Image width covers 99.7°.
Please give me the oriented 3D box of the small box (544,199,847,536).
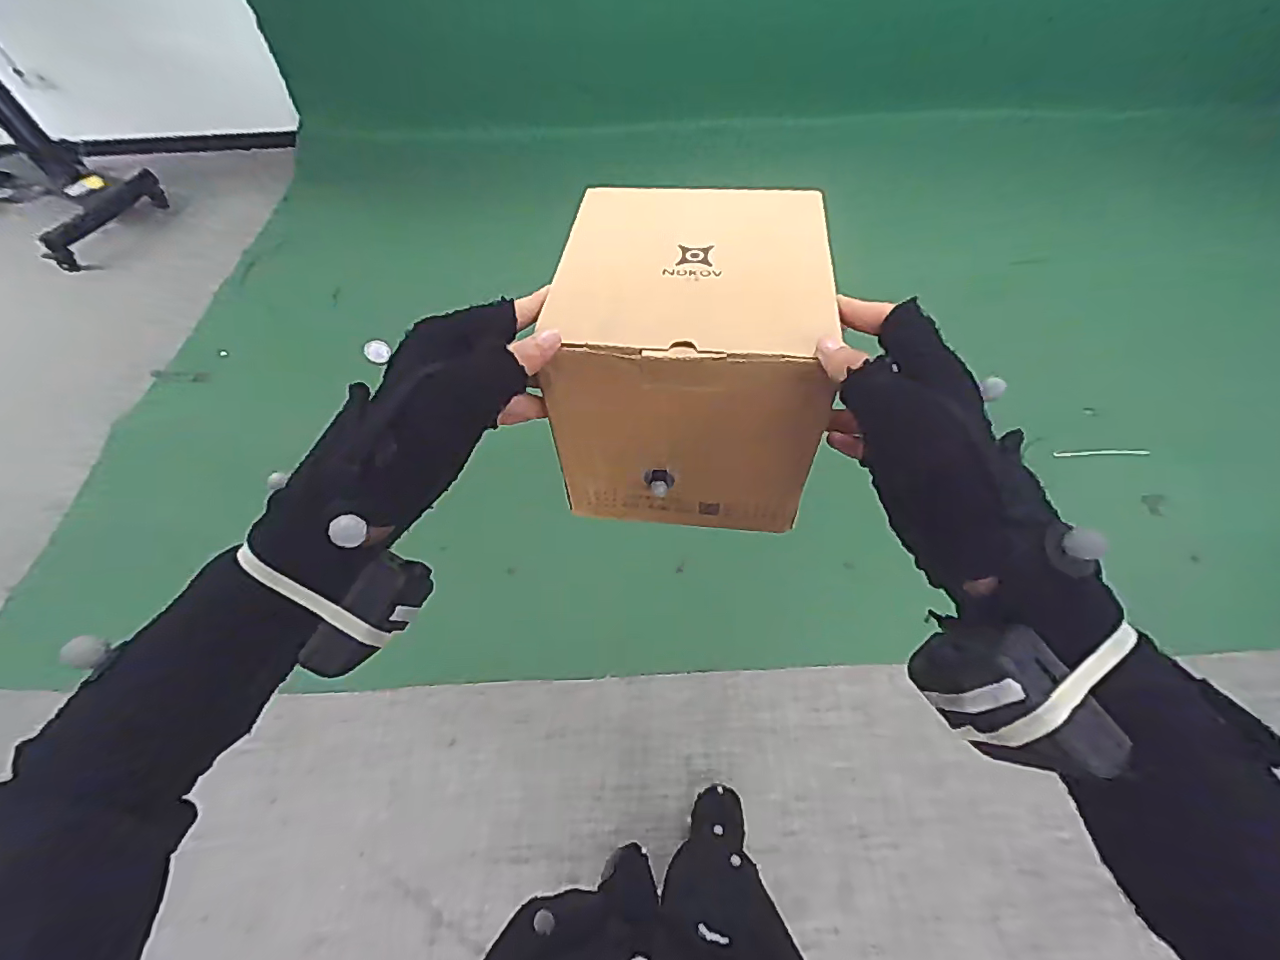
[{"bbox_3d":[0.040,-0.081,0.399,0.168,0.176,0.179,4,54,6],"label":"small box"}]
